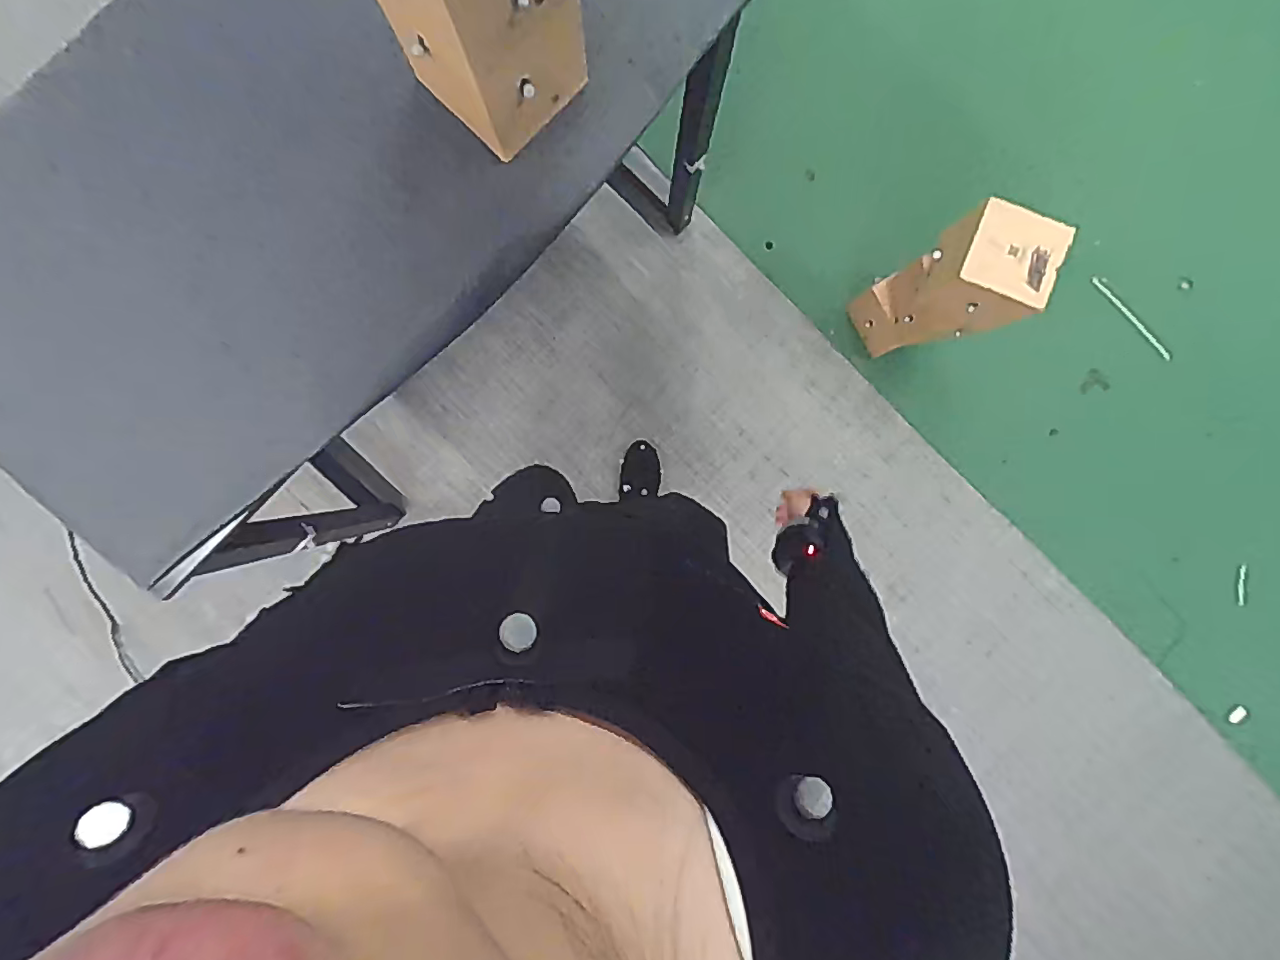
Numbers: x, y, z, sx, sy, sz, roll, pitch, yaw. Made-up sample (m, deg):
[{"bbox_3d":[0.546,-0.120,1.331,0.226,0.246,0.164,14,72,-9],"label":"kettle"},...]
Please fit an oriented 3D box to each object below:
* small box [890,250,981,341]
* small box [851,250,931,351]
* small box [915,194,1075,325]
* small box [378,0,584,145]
[{"bbox_3d":[0.701,-0.427,1.250,0.179,0.176,0.168,-8,93,-2],"label":"small box"},{"bbox_3d":[0.677,-0.457,1.411,0.179,0.176,0.168,-29,93,-1],"label":"small box"},{"bbox_3d":[0.699,-0.428,1.085,0.179,0.176,0.168,22,92,-1],"label":"small box"},{"bbox_3d":[-0.185,-0.550,0.653,0.179,0.176,0.168,44,90,-1],"label":"small box"}]
